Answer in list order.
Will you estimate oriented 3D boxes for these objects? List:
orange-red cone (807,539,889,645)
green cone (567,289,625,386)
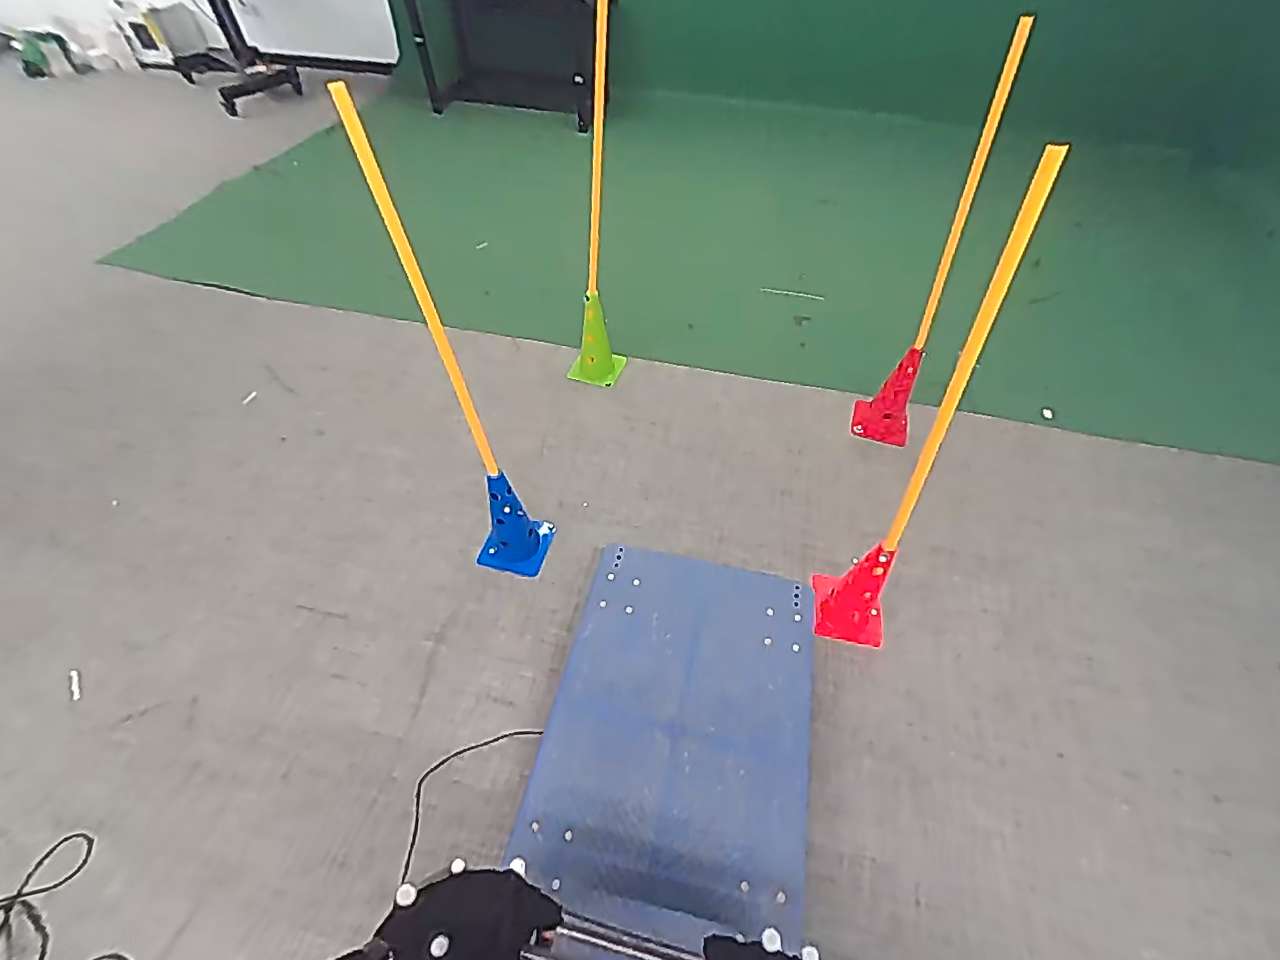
[{"bbox_3d":[0.591,0.273,1.459,0.199,0.360,0.198,10,51,9],"label":"orange-red cone"},{"bbox_3d":[-0.181,-0.575,2.112,0.202,0.368,0.200,15,52,11],"label":"green cone"}]
